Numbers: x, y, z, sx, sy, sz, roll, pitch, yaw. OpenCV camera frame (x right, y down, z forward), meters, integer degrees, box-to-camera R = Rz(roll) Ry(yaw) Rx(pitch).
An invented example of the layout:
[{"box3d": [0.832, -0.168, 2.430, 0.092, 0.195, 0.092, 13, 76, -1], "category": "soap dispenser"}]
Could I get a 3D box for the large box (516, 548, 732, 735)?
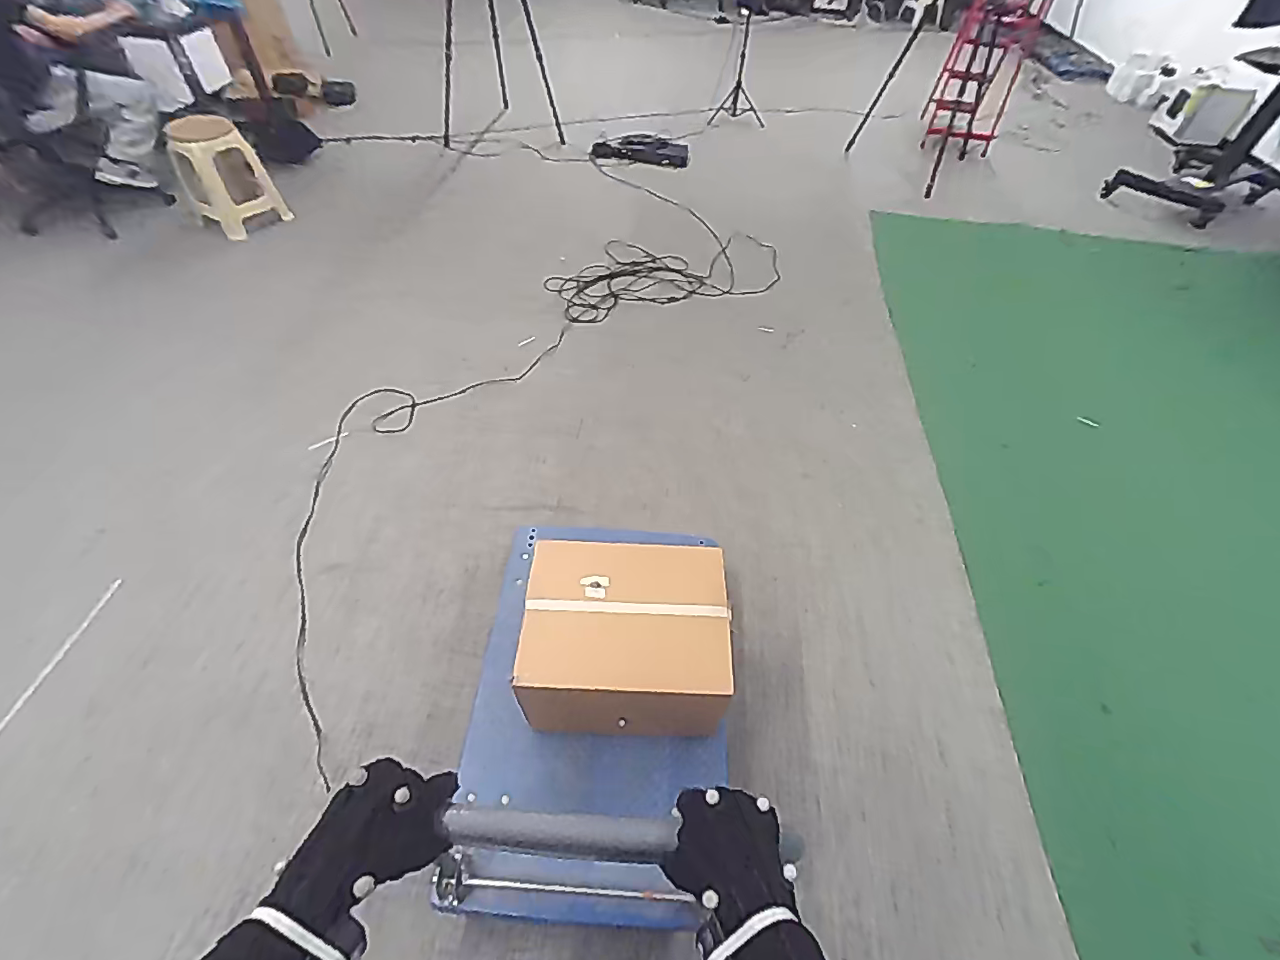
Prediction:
[{"box3d": [-0.026, 0.362, 1.197, 0.408, 0.320, 0.320, 2, 50, 1], "category": "large box"}]
